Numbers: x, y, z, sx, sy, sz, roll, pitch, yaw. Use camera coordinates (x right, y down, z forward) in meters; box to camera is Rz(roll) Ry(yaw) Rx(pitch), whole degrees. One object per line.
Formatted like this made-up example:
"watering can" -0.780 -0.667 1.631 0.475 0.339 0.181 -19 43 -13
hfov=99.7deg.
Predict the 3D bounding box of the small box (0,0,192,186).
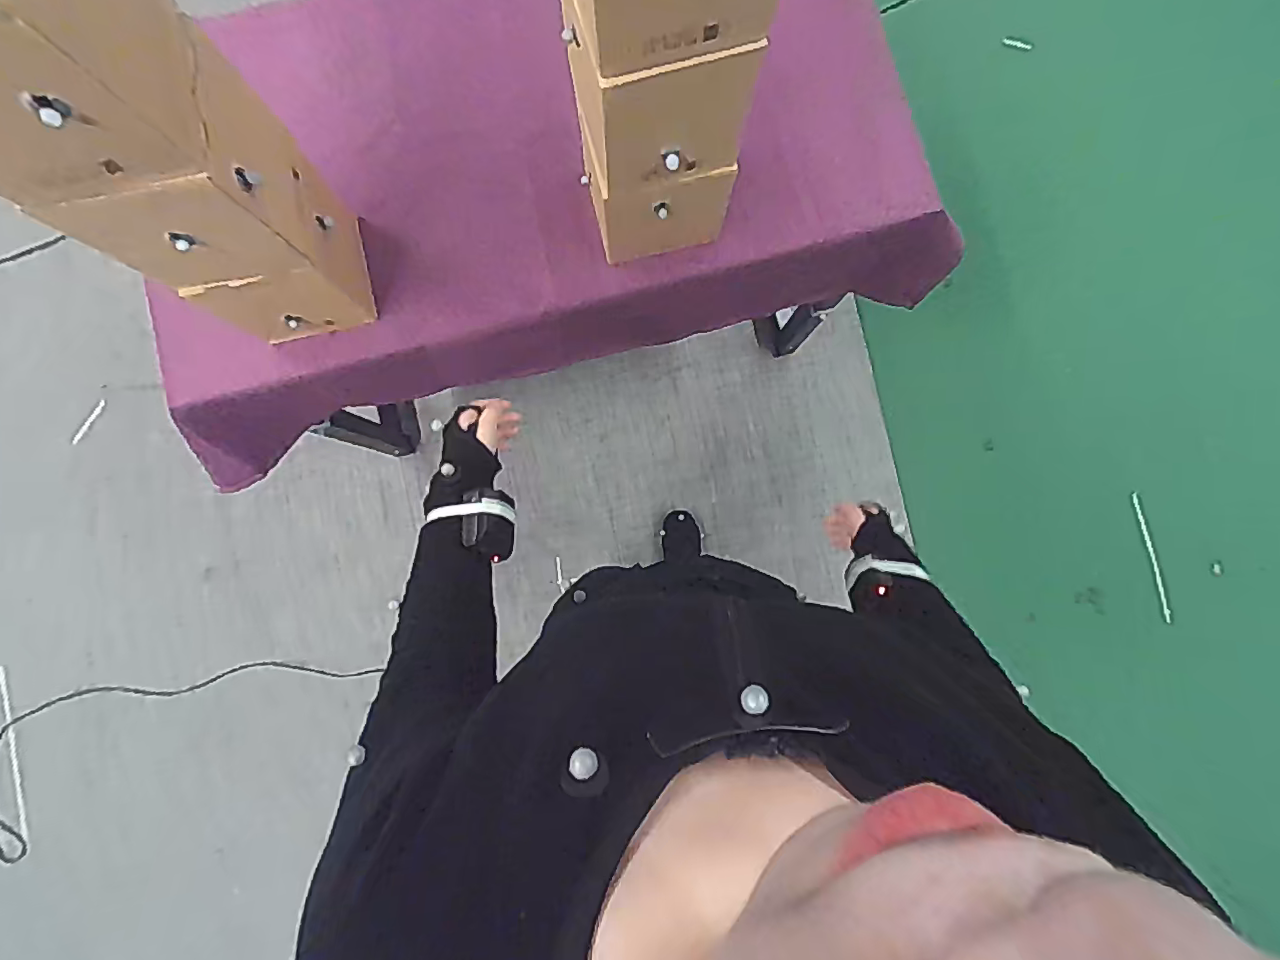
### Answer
"small box" -0.488 -0.353 0.410 0.168 0.176 0.179 -12 85 -2

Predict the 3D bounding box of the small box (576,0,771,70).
"small box" 0.016 -0.480 0.424 0.168 0.176 0.179 -15 84 -1

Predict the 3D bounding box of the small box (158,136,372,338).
"small box" -0.494 -0.318 0.736 0.168 0.176 0.179 -13 86 -2

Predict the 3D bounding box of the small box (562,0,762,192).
"small box" 0.013 -0.457 0.587 0.168 0.176 0.179 -16 86 -1

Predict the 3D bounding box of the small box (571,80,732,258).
"small box" 0.014 -0.434 0.750 0.179 0.176 0.168 -13 85 -2
